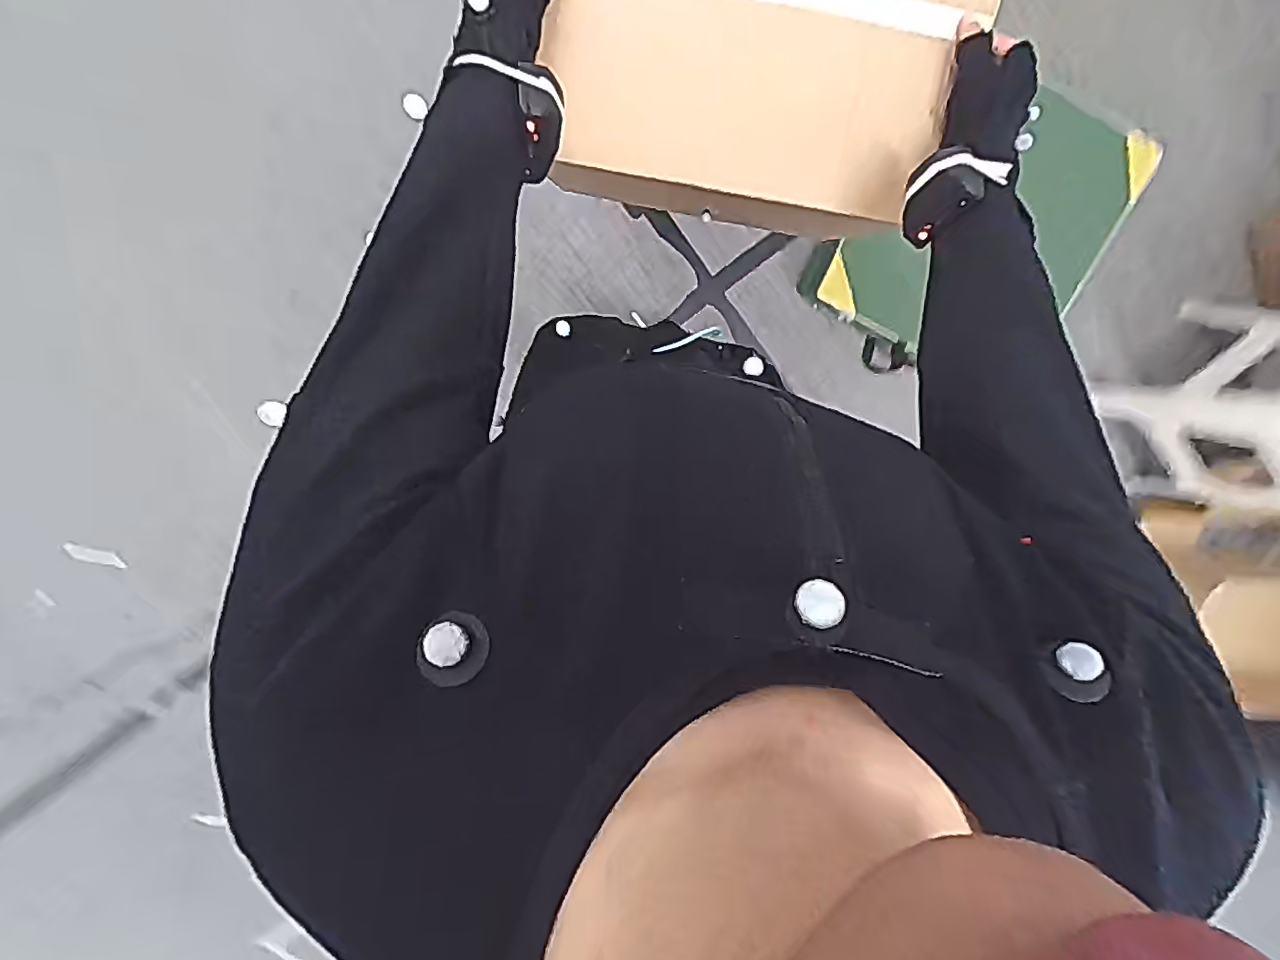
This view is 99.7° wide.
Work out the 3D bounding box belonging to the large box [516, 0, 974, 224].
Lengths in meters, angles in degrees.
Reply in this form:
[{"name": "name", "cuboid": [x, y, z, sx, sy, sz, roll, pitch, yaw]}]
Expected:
[{"name": "large box", "cuboid": [0.096, -0.486, 0.611, 0.408, 0.320, 0.320, 7, 112, -4]}]
